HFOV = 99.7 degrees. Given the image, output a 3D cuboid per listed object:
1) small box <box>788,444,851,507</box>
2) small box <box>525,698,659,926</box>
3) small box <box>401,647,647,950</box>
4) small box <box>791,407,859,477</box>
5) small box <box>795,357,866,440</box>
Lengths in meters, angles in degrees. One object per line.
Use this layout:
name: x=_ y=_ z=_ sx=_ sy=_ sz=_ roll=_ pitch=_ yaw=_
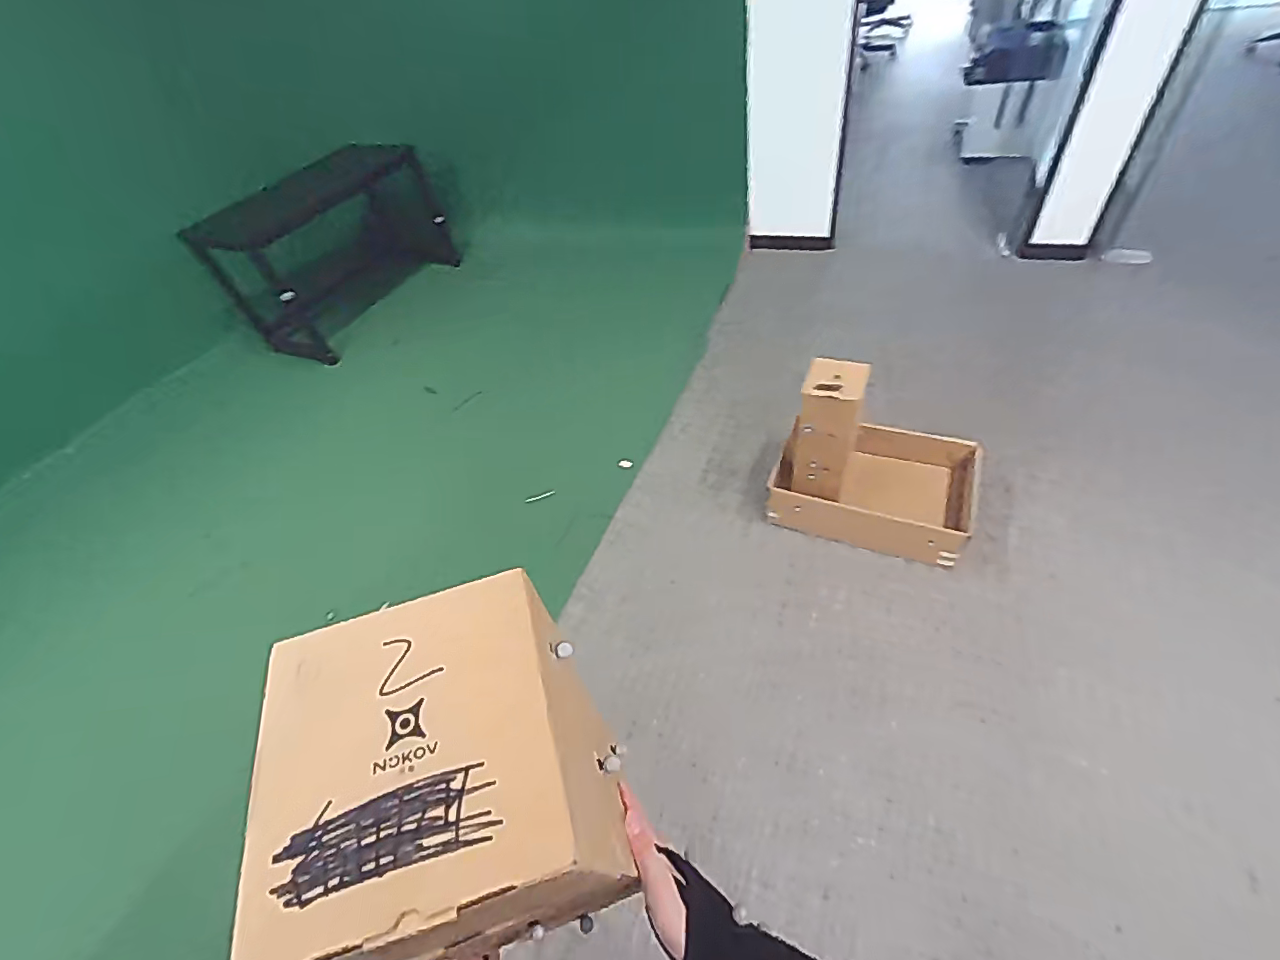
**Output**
small box: x=0.622 y=-0.038 z=1.888 sx=0.168 sy=0.176 sz=0.179 roll=16 pitch=54 yaw=22
small box: x=-0.083 y=0.386 z=0.625 sx=0.168 sy=0.176 sz=0.179 roll=-18 pitch=53 yaw=-6
small box: x=-0.099 y=0.288 z=0.497 sx=0.168 sy=0.176 sz=0.179 roll=-19 pitch=54 yaw=-8
small box: x=0.599 y=-0.142 z=1.764 sx=0.168 sy=0.176 sz=0.179 roll=16 pitch=54 yaw=23
small box: x=0.574 y=-0.246 z=1.640 sx=0.168 sy=0.176 sz=0.179 roll=14 pitch=53 yaw=21
